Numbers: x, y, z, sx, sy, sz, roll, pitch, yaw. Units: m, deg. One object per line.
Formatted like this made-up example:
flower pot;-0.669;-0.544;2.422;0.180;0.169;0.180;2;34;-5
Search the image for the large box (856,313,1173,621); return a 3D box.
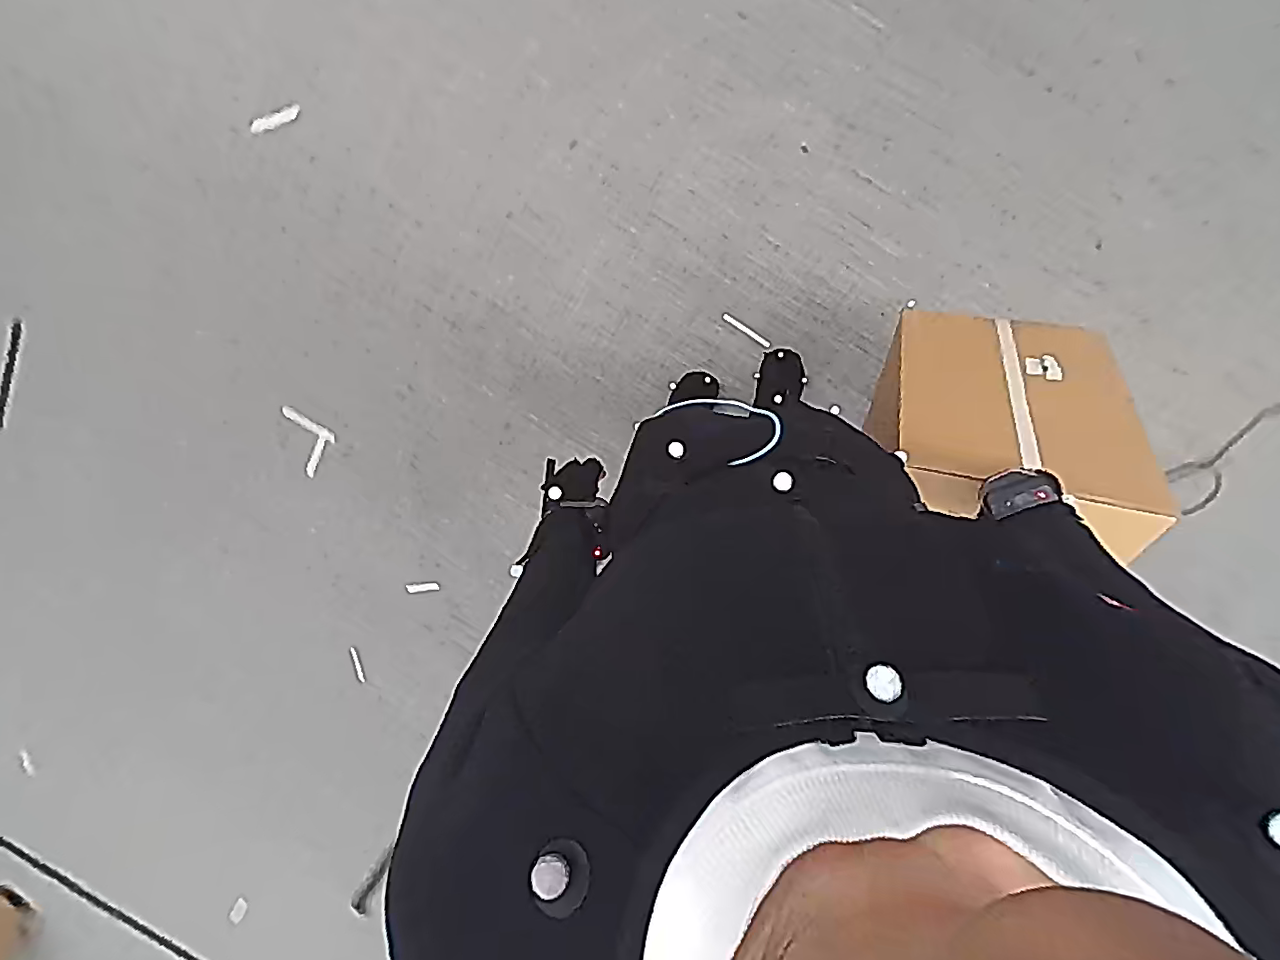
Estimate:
large box;0.562;-0.033;0.918;0.320;0.408;0.320;11;139;13
